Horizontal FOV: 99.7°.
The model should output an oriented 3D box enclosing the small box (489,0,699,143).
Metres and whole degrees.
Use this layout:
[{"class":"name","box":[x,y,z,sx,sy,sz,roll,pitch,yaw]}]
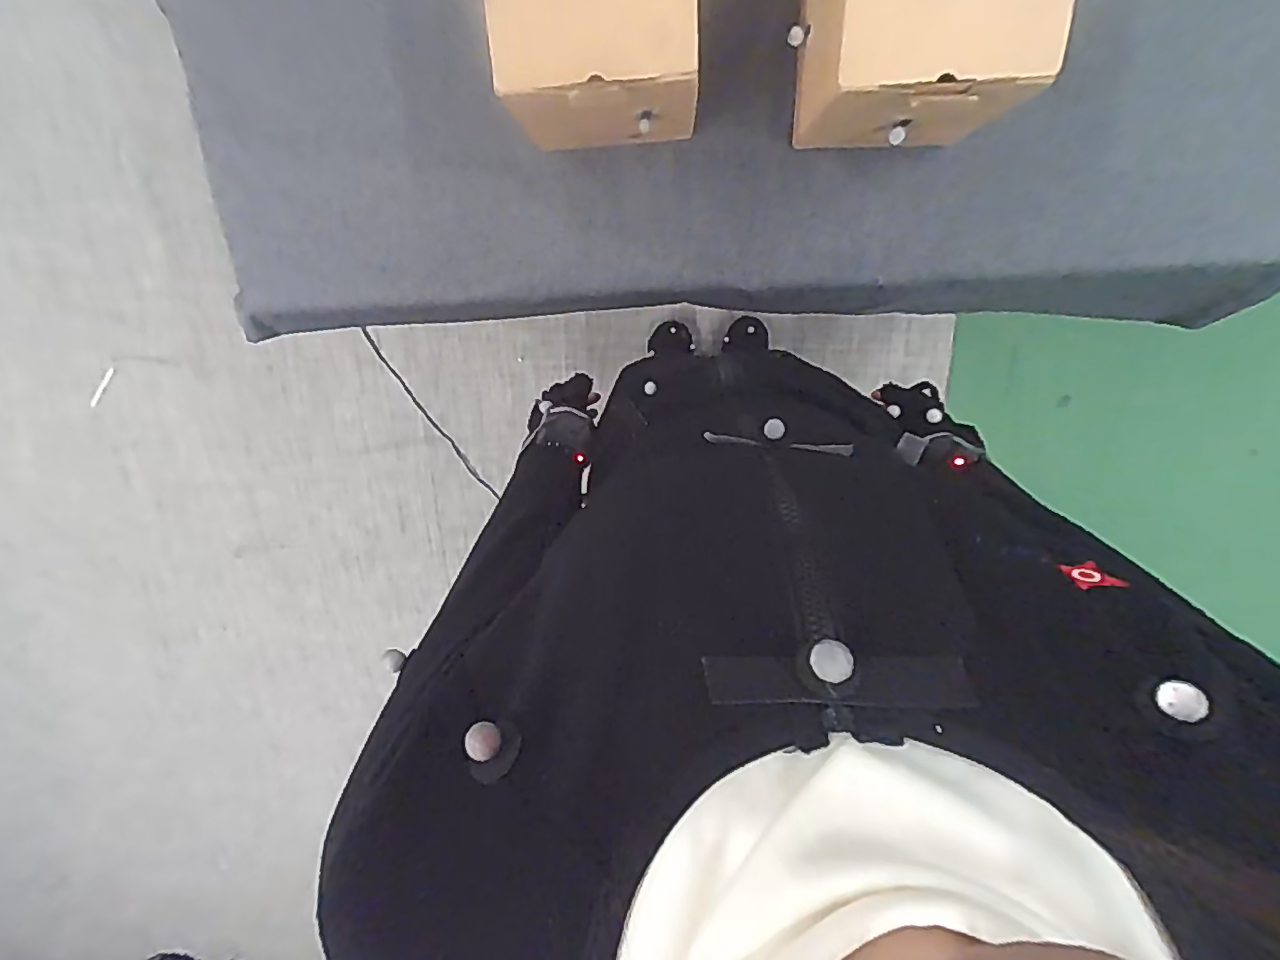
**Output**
[{"class":"small box","box":[-0.035,-0.424,0.485,0.168,0.176,0.179,-4,106,3]}]
